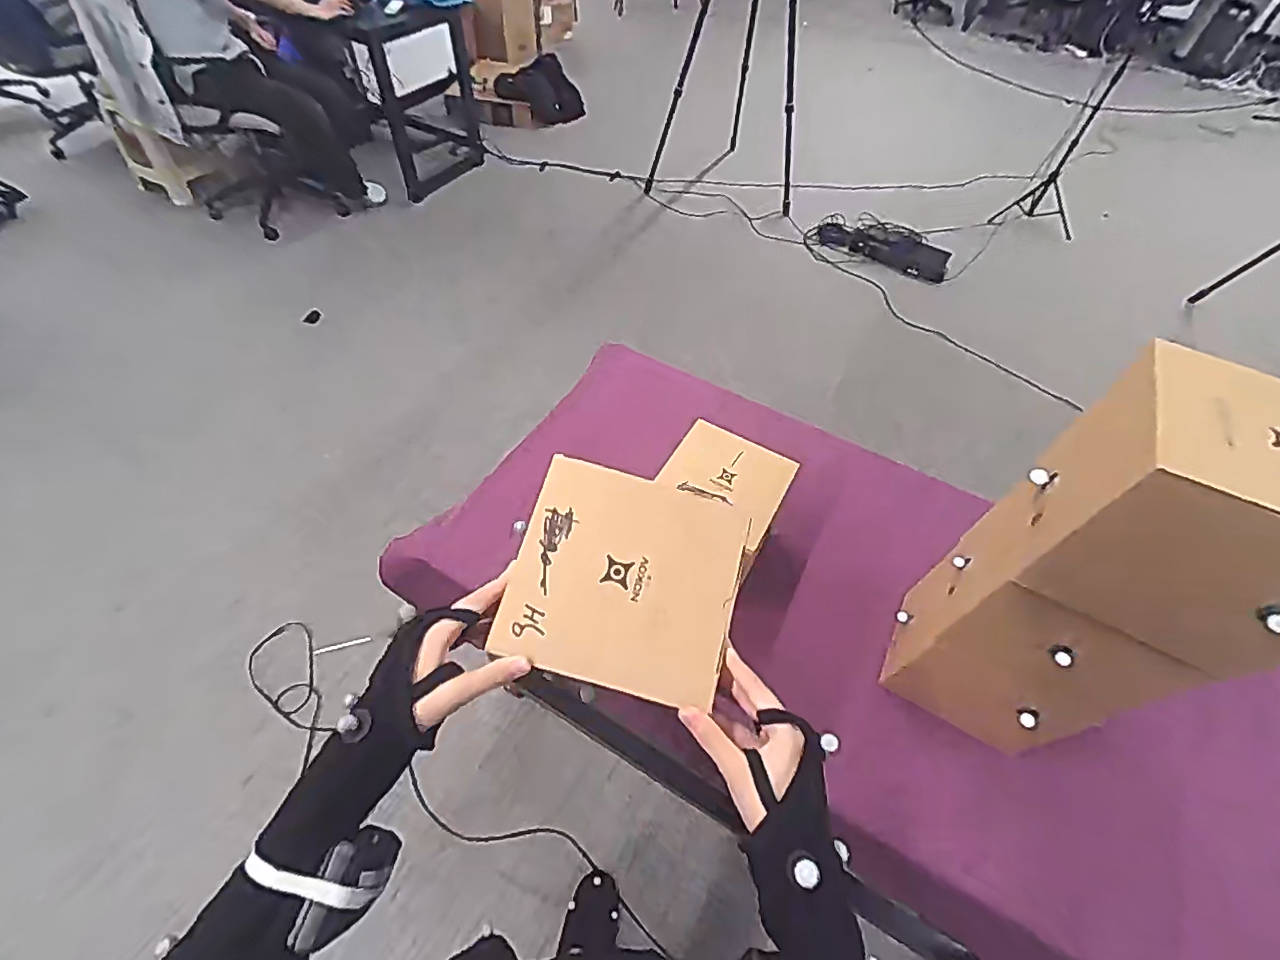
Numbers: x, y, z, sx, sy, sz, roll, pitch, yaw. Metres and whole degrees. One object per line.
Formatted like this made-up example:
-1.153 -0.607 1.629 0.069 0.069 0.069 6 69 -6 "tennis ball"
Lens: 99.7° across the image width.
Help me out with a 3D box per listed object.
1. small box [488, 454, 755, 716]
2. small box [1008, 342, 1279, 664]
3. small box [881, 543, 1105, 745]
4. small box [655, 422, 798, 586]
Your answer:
-0.017 0.103 0.497 0.179 0.176 0.168 17 68 0 "small box"
0.450 0.026 0.442 0.179 0.176 0.168 27 55 16 "small box"
0.451 0.220 0.707 0.179 0.176 0.168 27 56 16 "small box"
0.112 0.052 0.813 0.168 0.176 0.179 27 55 15 "small box"
